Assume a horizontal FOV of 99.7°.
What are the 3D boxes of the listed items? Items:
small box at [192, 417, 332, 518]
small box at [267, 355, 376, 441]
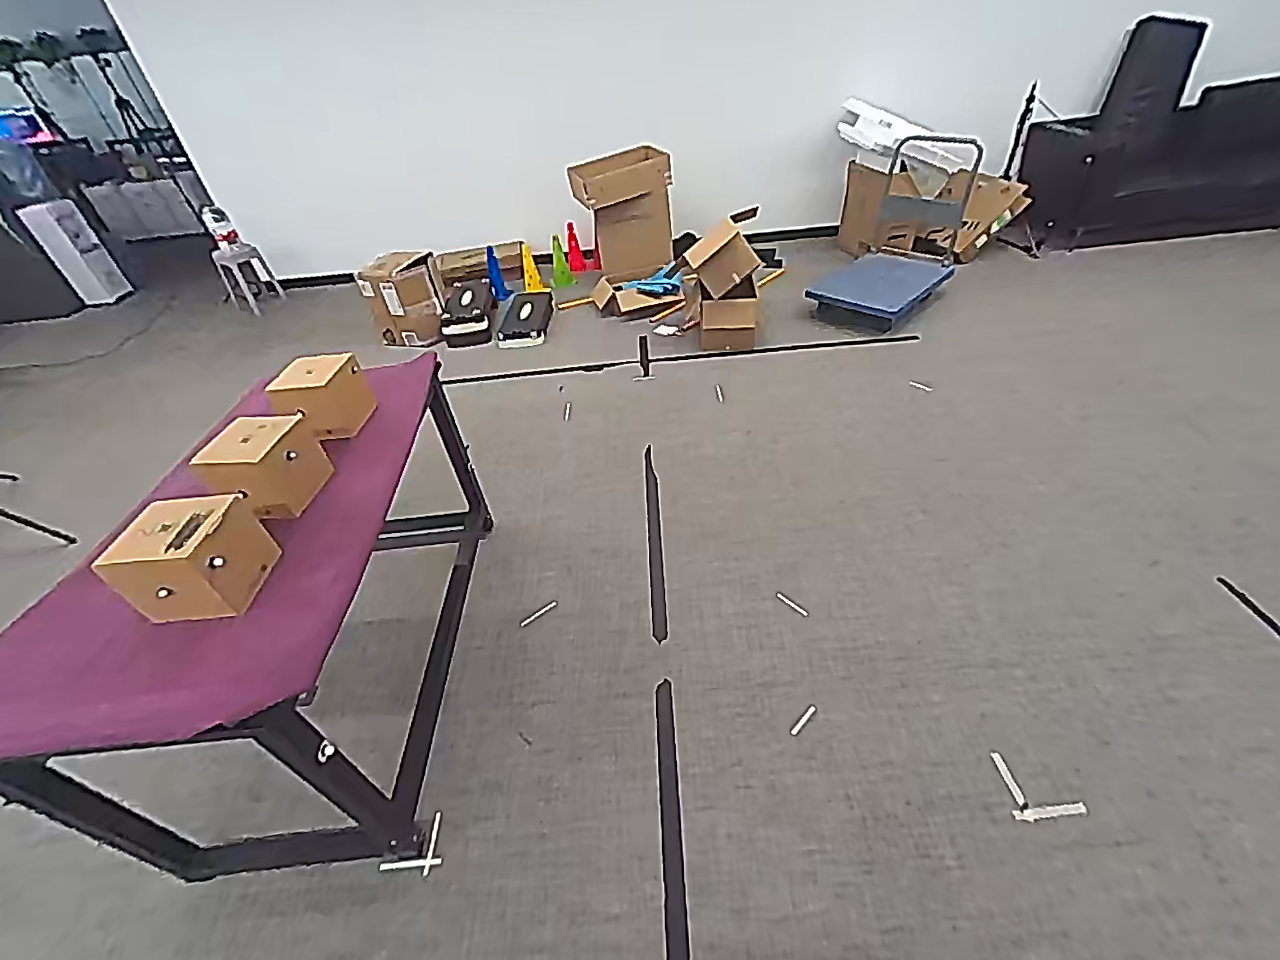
[{"bbox_3d":[-0.854,-0.026,1.246,0.168,0.176,0.179,0,40,6],"label":"small box"},{"bbox_3d":[-0.854,-0.219,1.476,0.168,0.176,0.179,-4,40,5],"label":"small box"}]
